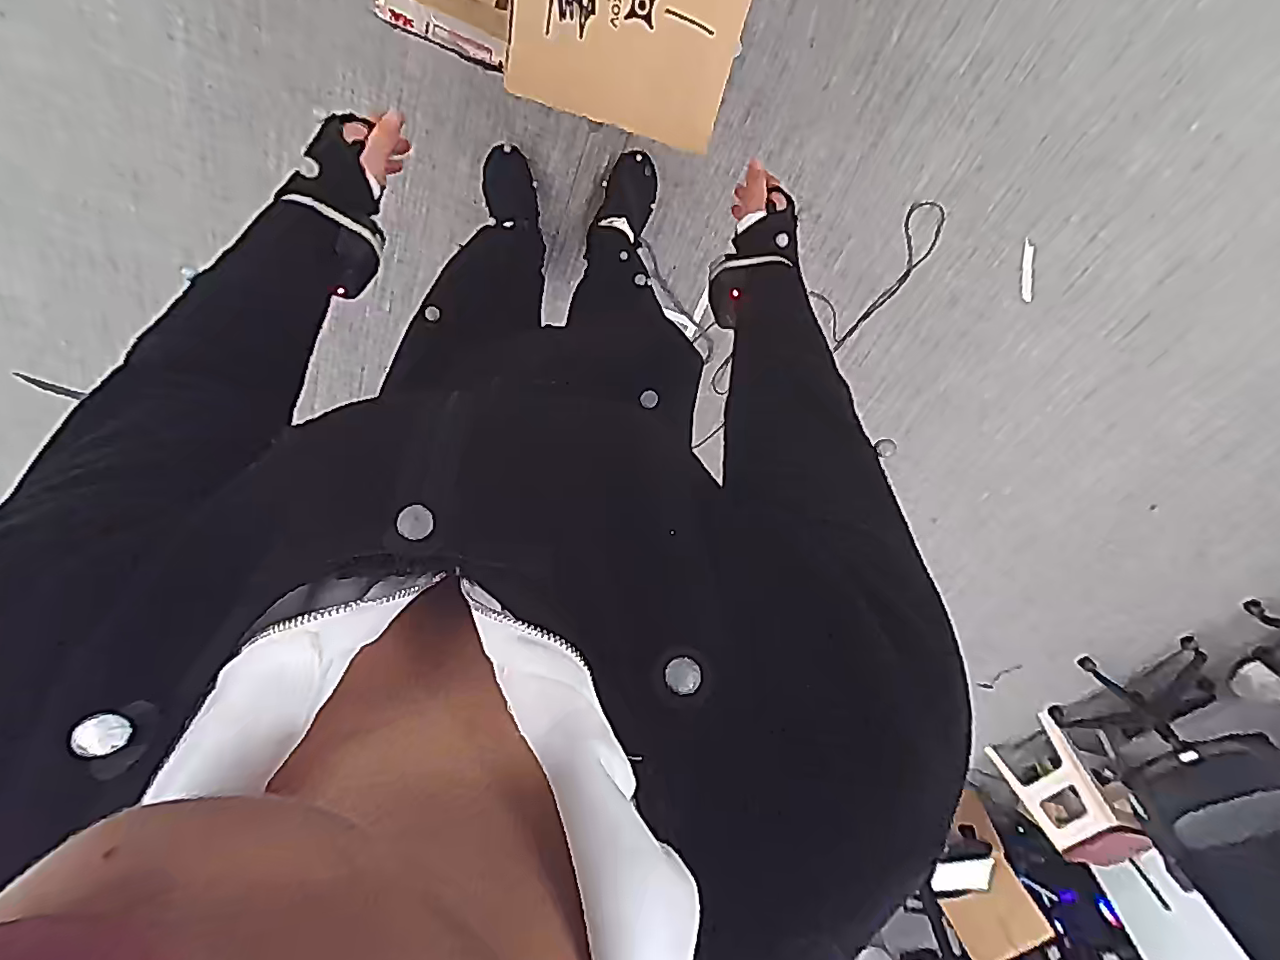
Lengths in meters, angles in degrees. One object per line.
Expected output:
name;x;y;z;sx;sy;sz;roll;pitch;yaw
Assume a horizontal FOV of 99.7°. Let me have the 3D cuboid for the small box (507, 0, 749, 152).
small box;-0.005;-0.416;0.474;0.179;0.176;0.168;12;130;-10
